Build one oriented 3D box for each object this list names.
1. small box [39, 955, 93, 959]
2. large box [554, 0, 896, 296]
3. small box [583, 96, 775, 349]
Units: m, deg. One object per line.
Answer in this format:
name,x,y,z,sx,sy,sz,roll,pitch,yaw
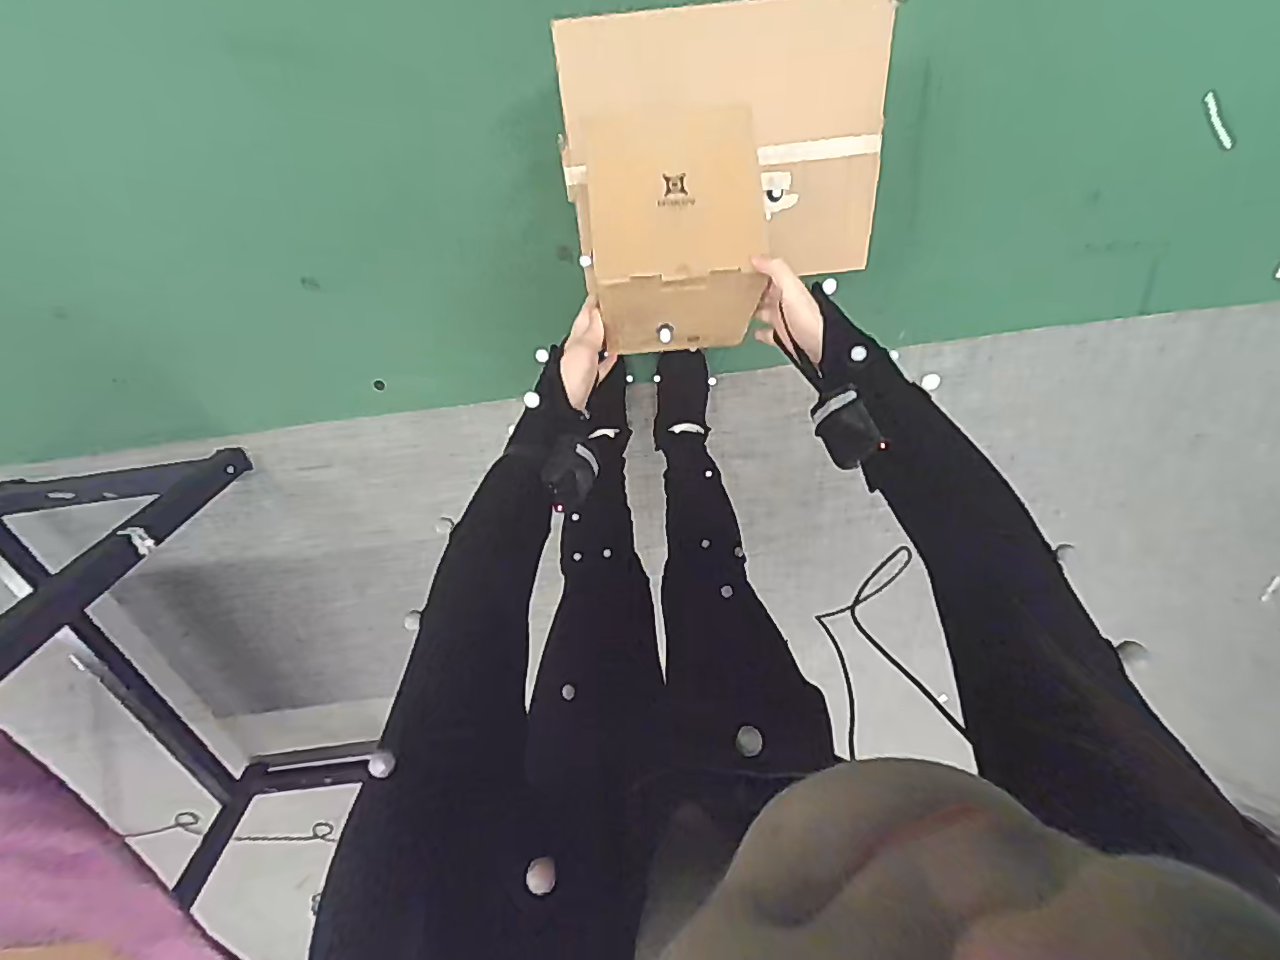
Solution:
small box,-0.922,0.835,0.791,0.179,0.176,0.168,-6,121,1
large box,0.103,-0.487,0.820,0.408,0.320,0.320,-6,121,0
small box,0.033,-0.258,0.573,0.168,0.176,0.179,-6,81,-1
